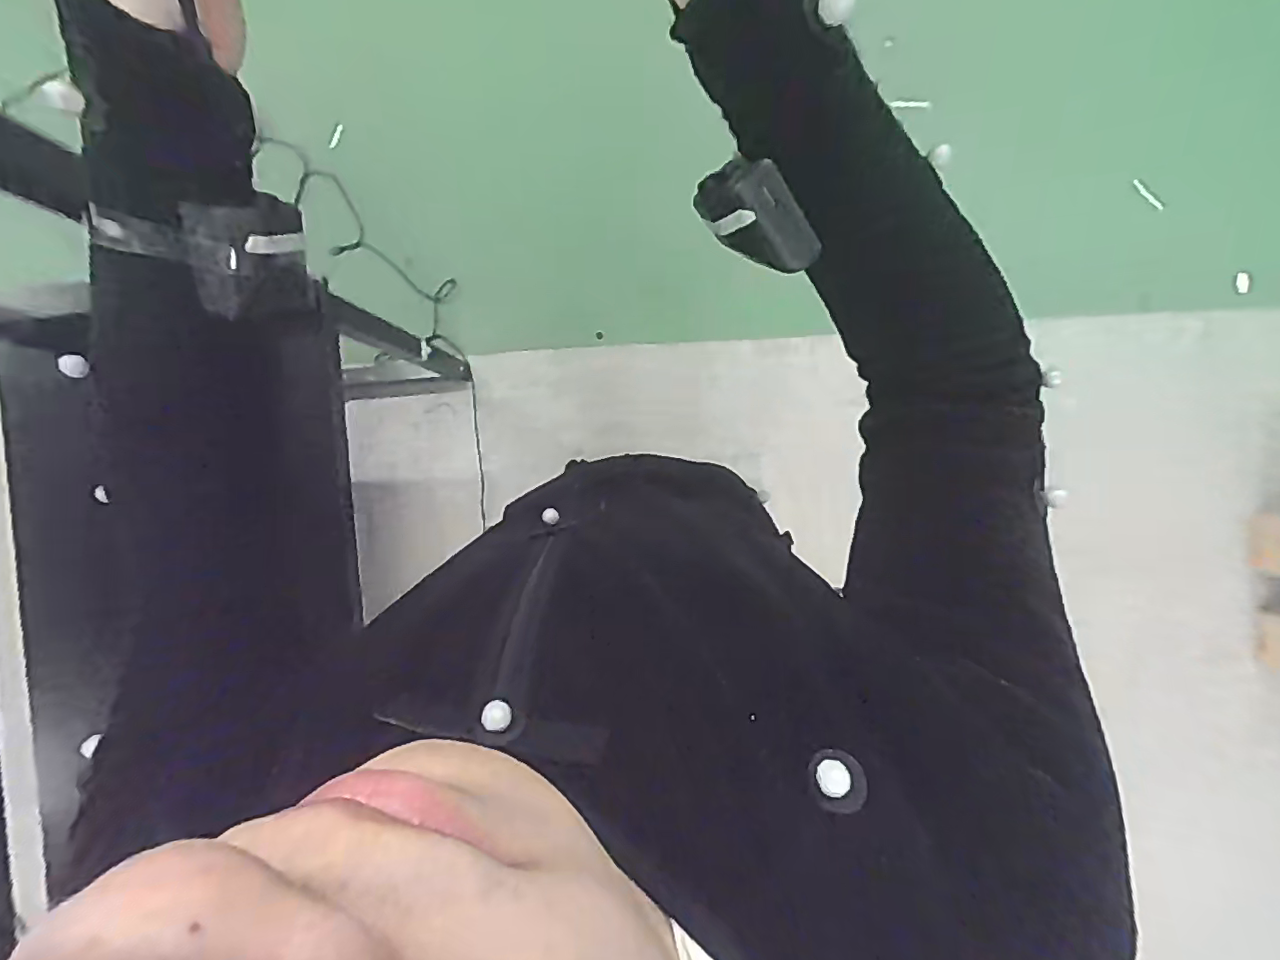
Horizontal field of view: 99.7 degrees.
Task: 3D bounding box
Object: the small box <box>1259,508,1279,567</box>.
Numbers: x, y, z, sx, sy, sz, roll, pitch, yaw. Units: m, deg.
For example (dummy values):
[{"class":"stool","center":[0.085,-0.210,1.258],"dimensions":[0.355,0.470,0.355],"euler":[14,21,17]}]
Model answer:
[{"class":"small box","center":[1.863,0.164,1.472],"dimensions":[0.179,0.176,0.168],"euler":[-1,92,3]}]
